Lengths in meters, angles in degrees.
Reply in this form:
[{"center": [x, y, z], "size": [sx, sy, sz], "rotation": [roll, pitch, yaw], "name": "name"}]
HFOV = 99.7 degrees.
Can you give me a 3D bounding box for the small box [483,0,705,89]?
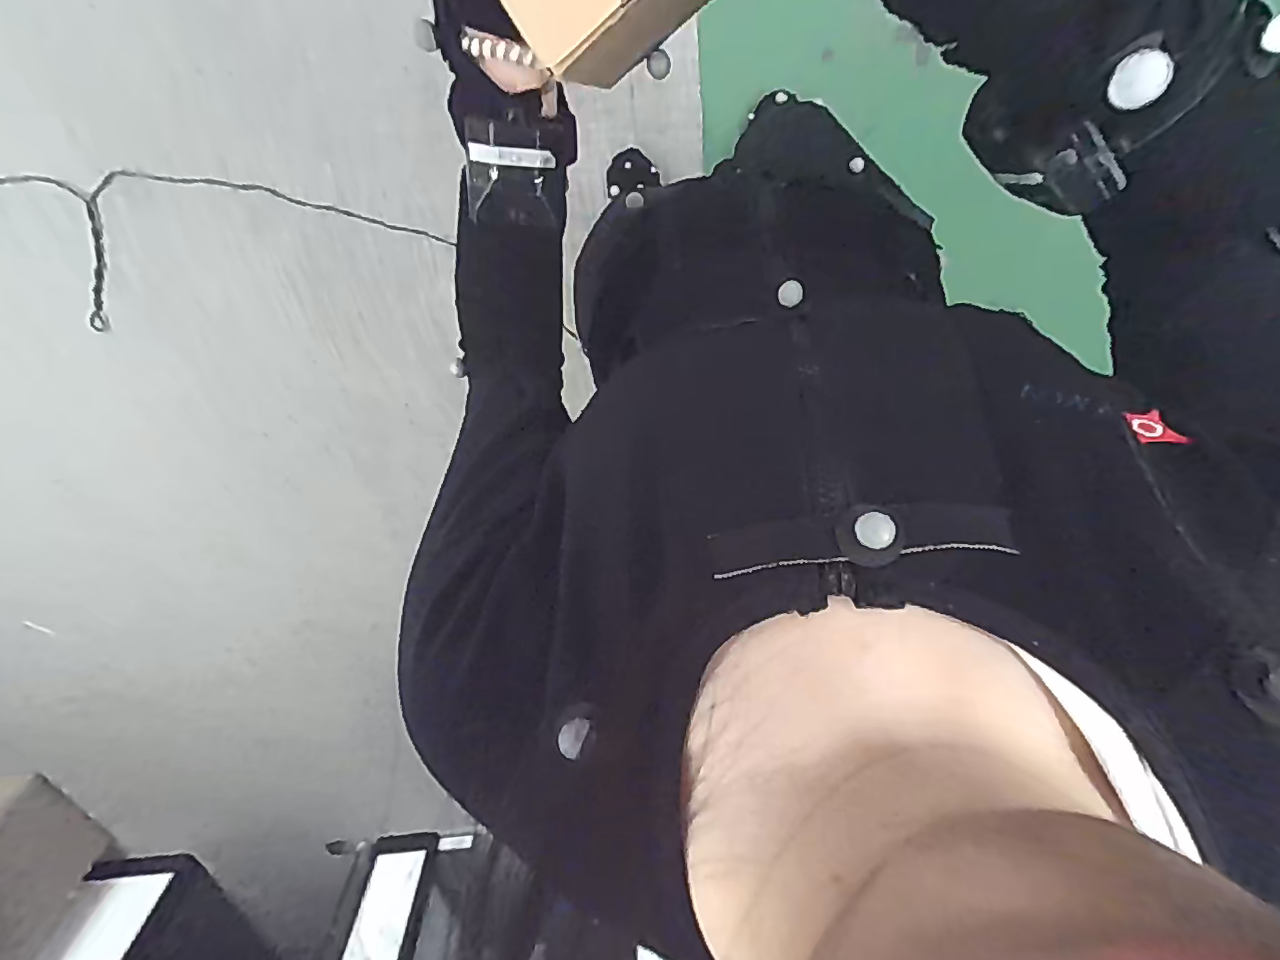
[{"center": [-0.011, -0.276, 0.186], "size": [0.168, 0.176, 0.179], "rotation": [-29, 116, 22], "name": "small box"}]
